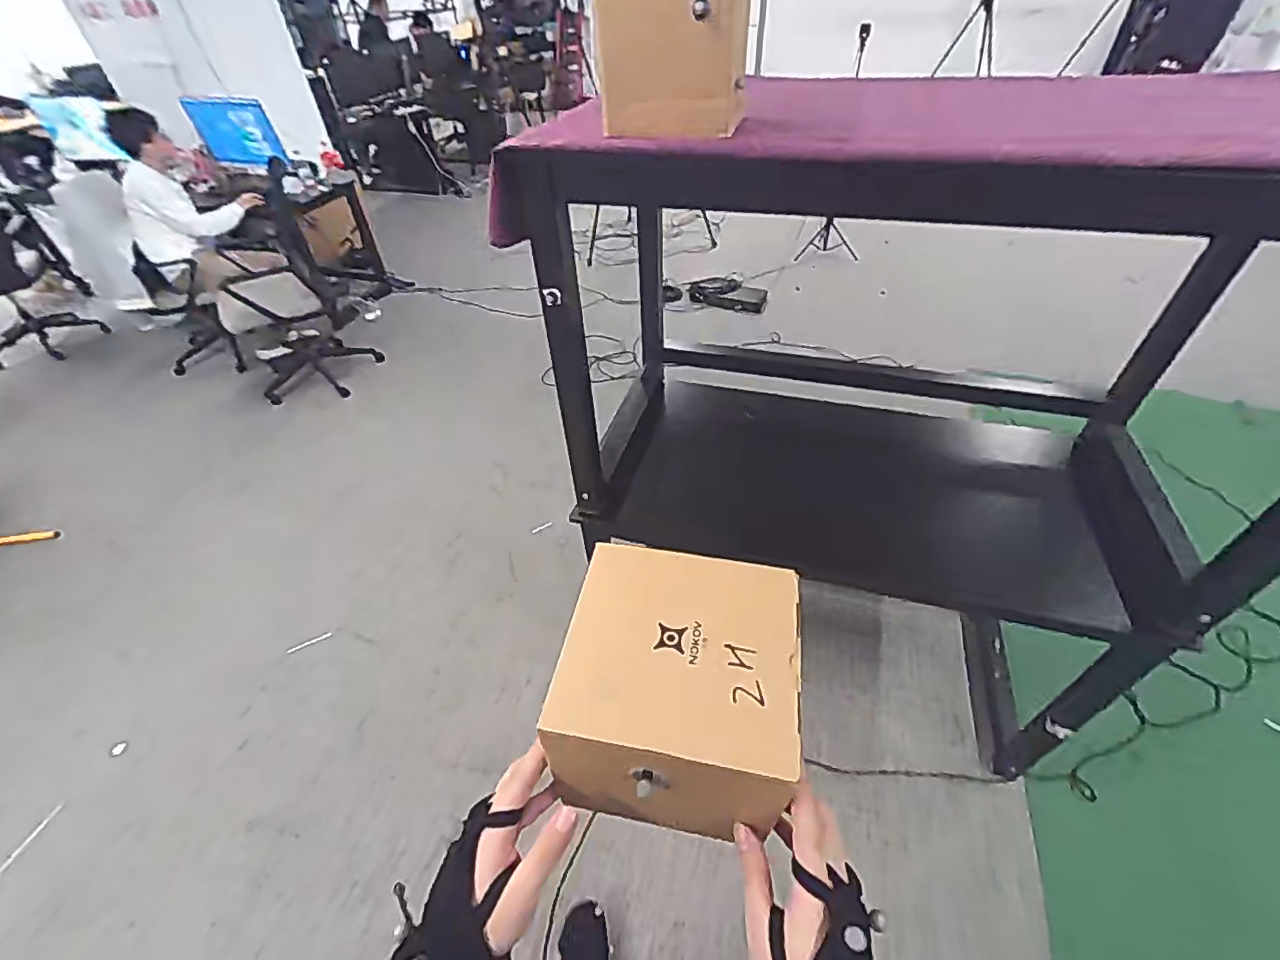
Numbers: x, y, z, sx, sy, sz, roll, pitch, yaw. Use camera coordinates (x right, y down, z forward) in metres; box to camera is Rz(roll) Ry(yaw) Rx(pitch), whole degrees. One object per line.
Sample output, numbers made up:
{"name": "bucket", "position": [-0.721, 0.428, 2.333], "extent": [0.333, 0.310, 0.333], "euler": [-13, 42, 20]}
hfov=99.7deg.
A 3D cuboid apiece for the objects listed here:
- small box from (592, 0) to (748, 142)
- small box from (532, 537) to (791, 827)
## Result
{"name": "small box", "position": [0.045, -0.571, 0.734], "extent": [0.179, 0.176, 0.168], "euler": [8, 44, 13]}
{"name": "small box", "position": [0.029, 0.174, 0.467], "extent": [0.179, 0.176, 0.168], "euler": [7, 46, 9]}
